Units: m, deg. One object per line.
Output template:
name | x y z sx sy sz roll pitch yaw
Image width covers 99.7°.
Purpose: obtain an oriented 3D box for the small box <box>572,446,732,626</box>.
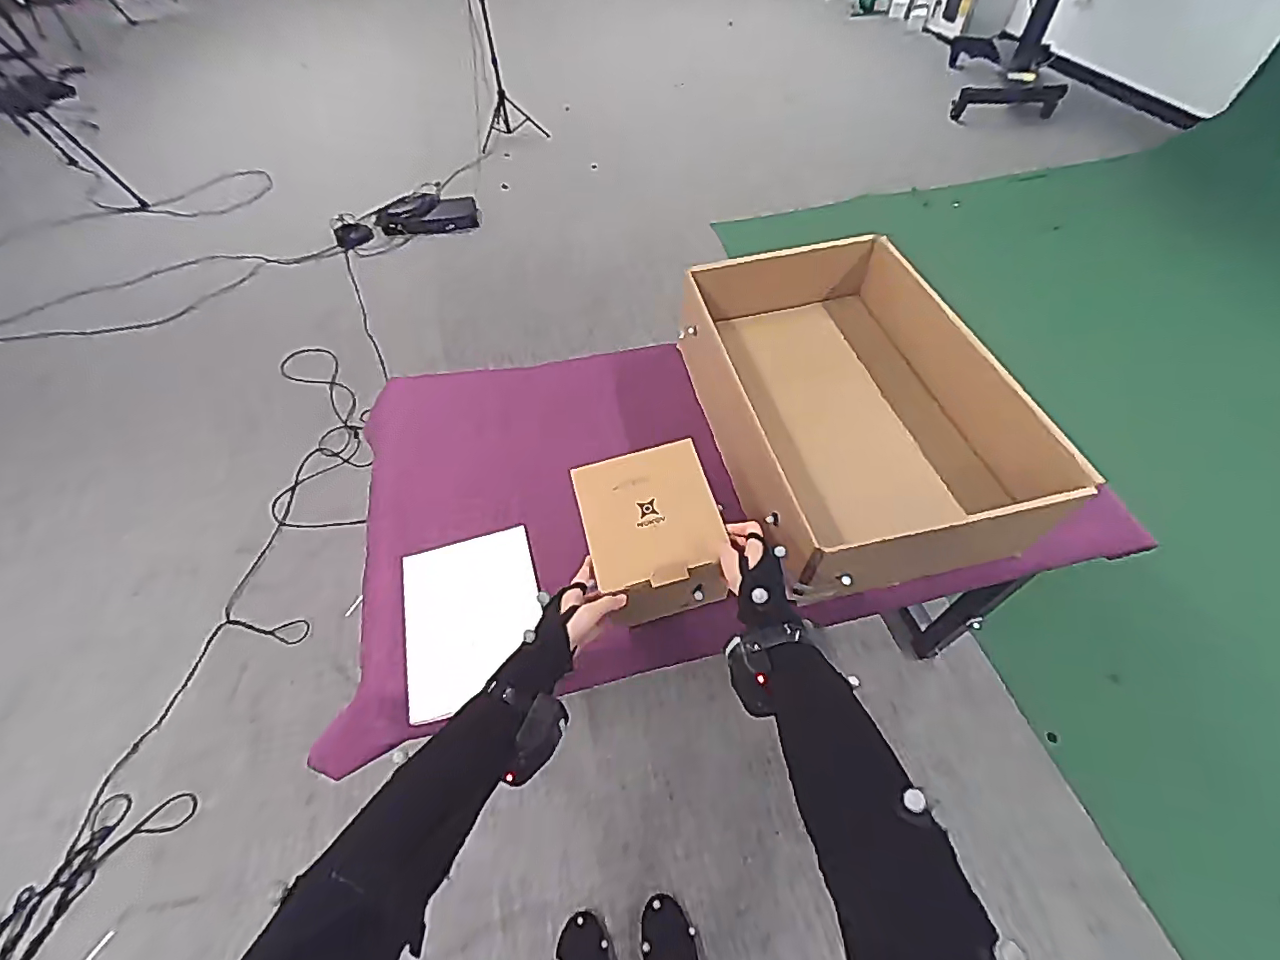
small box | 0.017 0.086 0.733 0.168 0.176 0.179 -15 61 -4
